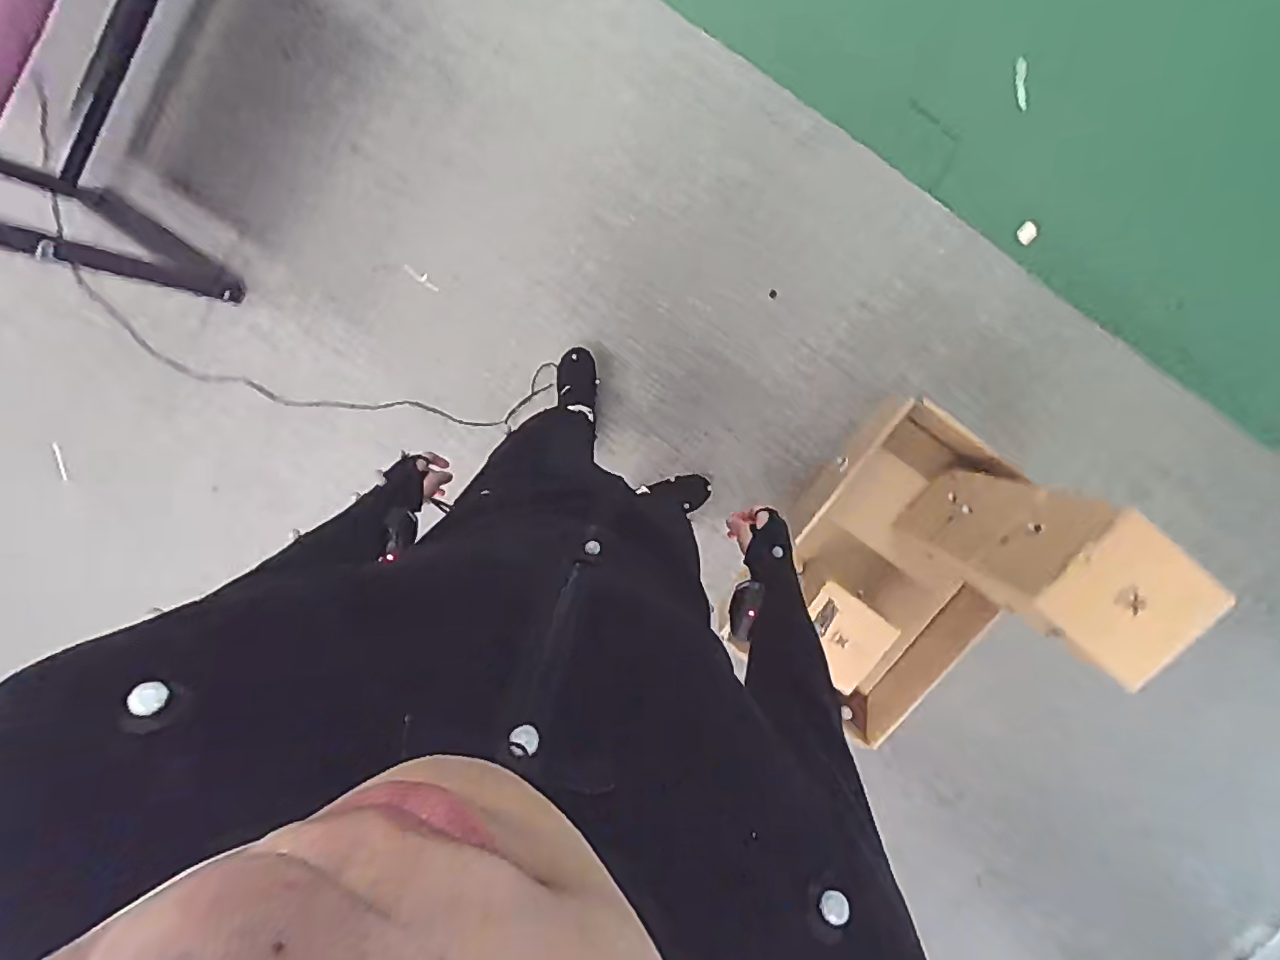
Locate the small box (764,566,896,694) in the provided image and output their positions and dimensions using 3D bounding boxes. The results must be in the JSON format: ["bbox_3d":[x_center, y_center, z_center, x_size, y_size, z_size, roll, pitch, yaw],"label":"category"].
[{"bbox_3d":[0.381,0.297,1.124,0.179,0.176,0.168,36,98,-2],"label":"small box"}]

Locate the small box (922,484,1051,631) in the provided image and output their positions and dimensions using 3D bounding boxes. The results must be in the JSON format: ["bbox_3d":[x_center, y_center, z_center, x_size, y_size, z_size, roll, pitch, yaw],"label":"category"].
[{"bbox_3d":[0.631,0.123,0.920,0.179,0.176,0.168,41,97,-1],"label":"small box"}]

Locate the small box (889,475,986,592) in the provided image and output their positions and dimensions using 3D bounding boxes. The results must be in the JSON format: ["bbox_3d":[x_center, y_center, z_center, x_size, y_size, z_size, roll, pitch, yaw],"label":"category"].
[{"bbox_3d":[0.643,0.104,1.081,0.179,0.176,0.168,38,97,-1],"label":"small box"}]

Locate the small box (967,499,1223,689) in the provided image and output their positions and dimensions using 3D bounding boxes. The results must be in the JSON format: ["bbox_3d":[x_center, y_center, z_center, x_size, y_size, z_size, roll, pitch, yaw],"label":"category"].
[{"bbox_3d":[0.617,0.145,0.760,0.179,0.176,0.168,42,98,-1],"label":"small box"}]
